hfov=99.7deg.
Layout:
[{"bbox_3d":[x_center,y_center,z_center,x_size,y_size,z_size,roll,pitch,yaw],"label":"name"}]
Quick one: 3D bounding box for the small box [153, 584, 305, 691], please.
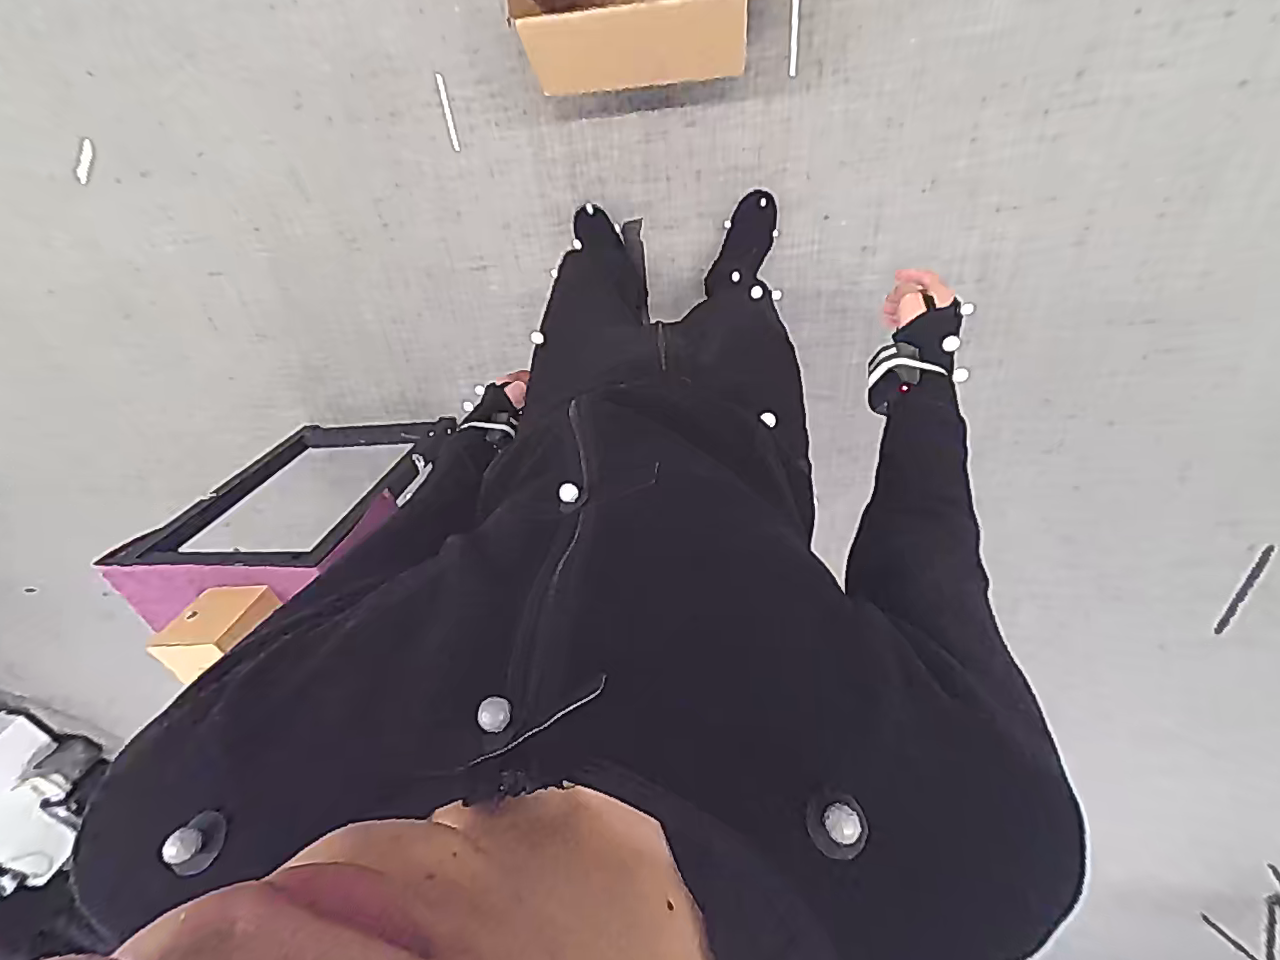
[{"bbox_3d":[-0.911,0.351,1.218,0.179,0.176,0.168,-4,124,13],"label":"small box"}]
